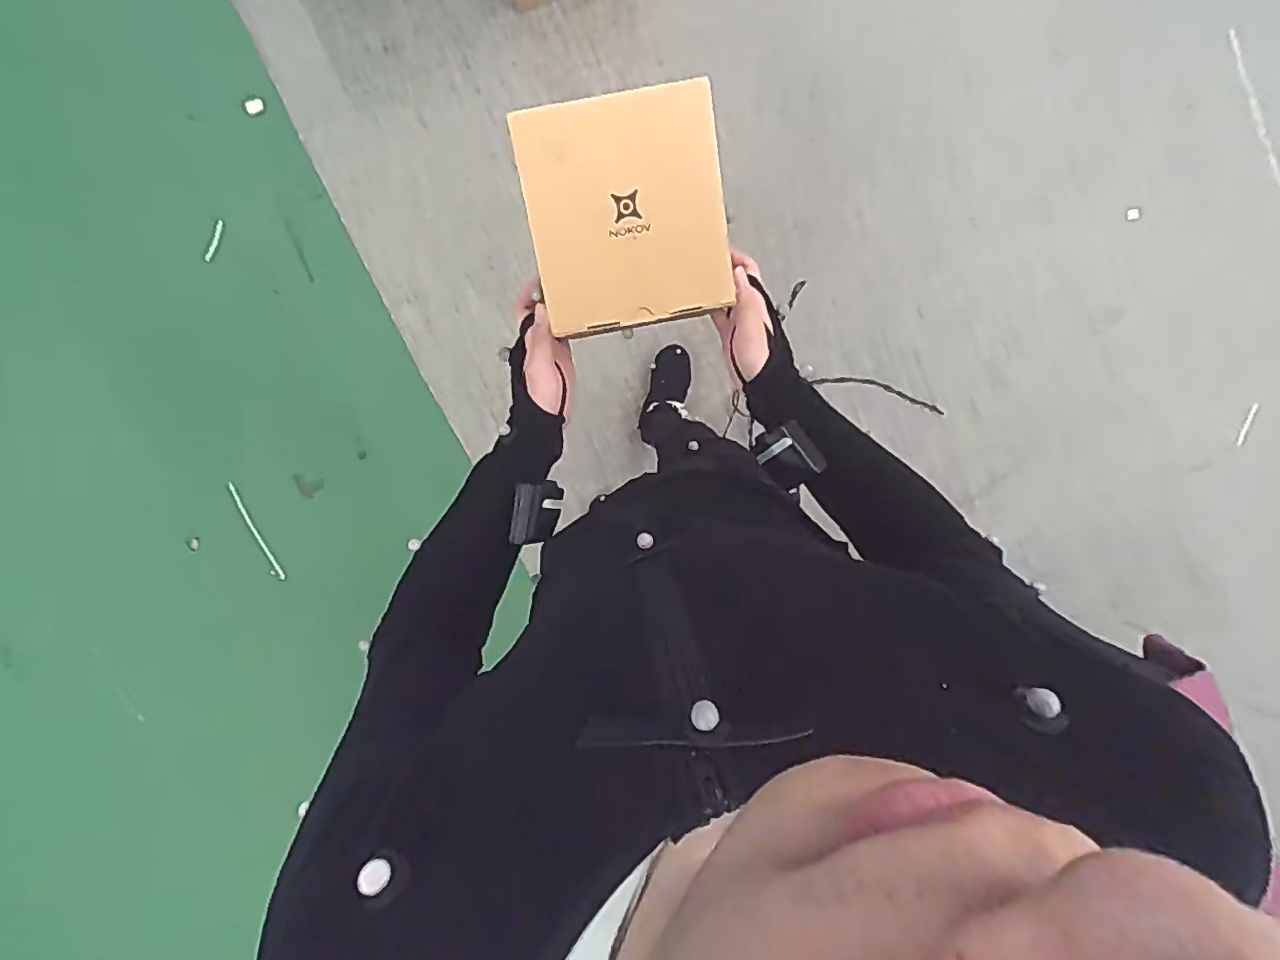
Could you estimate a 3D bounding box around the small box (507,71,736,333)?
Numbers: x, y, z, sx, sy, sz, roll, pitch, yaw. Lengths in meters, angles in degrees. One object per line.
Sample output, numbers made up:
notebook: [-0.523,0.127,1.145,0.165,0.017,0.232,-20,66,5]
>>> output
small box: [-0.017,-0.242,0.517,0.168,0.176,0.179,-11,105,-1]
